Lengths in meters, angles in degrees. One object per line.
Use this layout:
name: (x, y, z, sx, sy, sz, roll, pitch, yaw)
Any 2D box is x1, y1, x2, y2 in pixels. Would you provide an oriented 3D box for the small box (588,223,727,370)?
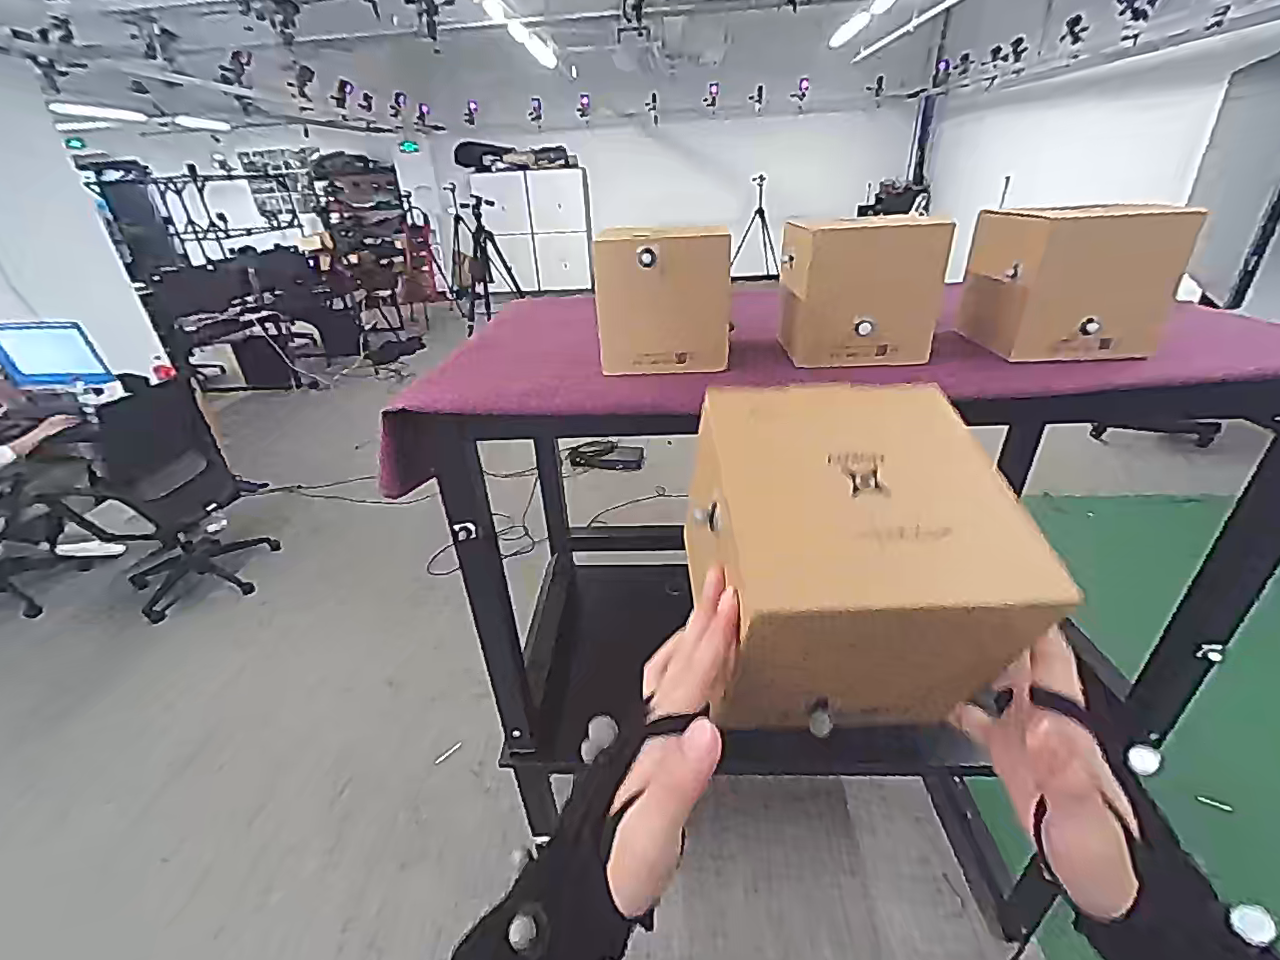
small box: (0.026, -0.255, 0.741, 0.168, 0.176, 0.179, -2, 27, 3)

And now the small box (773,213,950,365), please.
small box: (0.279, -0.260, 0.728, 0.168, 0.176, 0.179, -1, 29, 4)
